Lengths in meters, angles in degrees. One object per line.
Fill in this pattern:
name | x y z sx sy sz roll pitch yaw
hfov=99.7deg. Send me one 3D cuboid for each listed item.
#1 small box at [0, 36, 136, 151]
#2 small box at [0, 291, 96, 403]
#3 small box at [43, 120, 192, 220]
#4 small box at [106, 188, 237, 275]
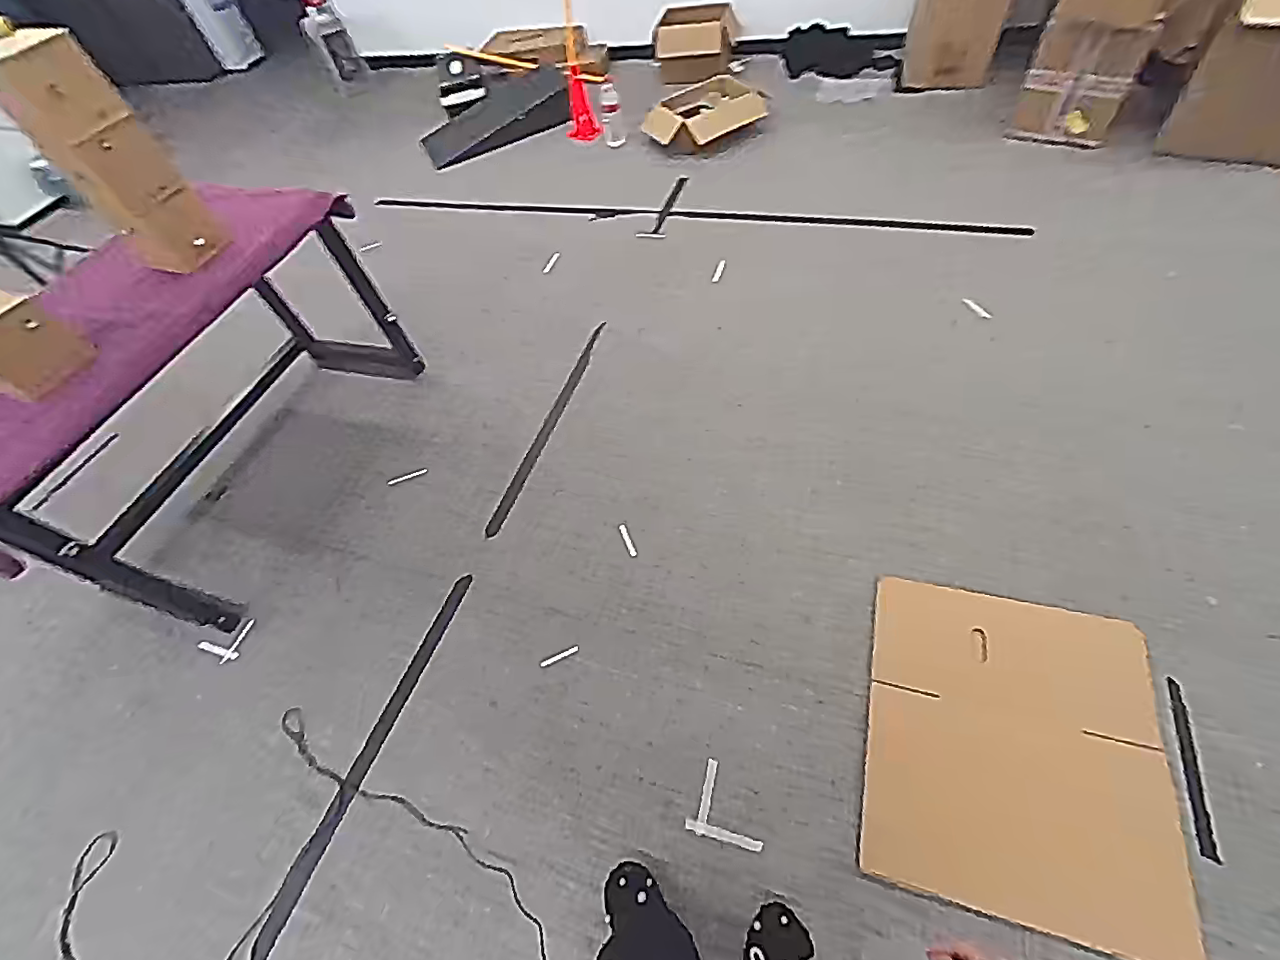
small box | -1.324 -0.874 1.230 0.179 0.176 0.168 15 60 20
small box | -1.441 -0.308 1.260 0.168 0.176 0.179 14 59 19
small box | -1.308 -0.783 1.365 0.179 0.176 0.168 16 60 20
small box | -1.290 -0.692 1.500 0.179 0.176 0.168 14 60 18
